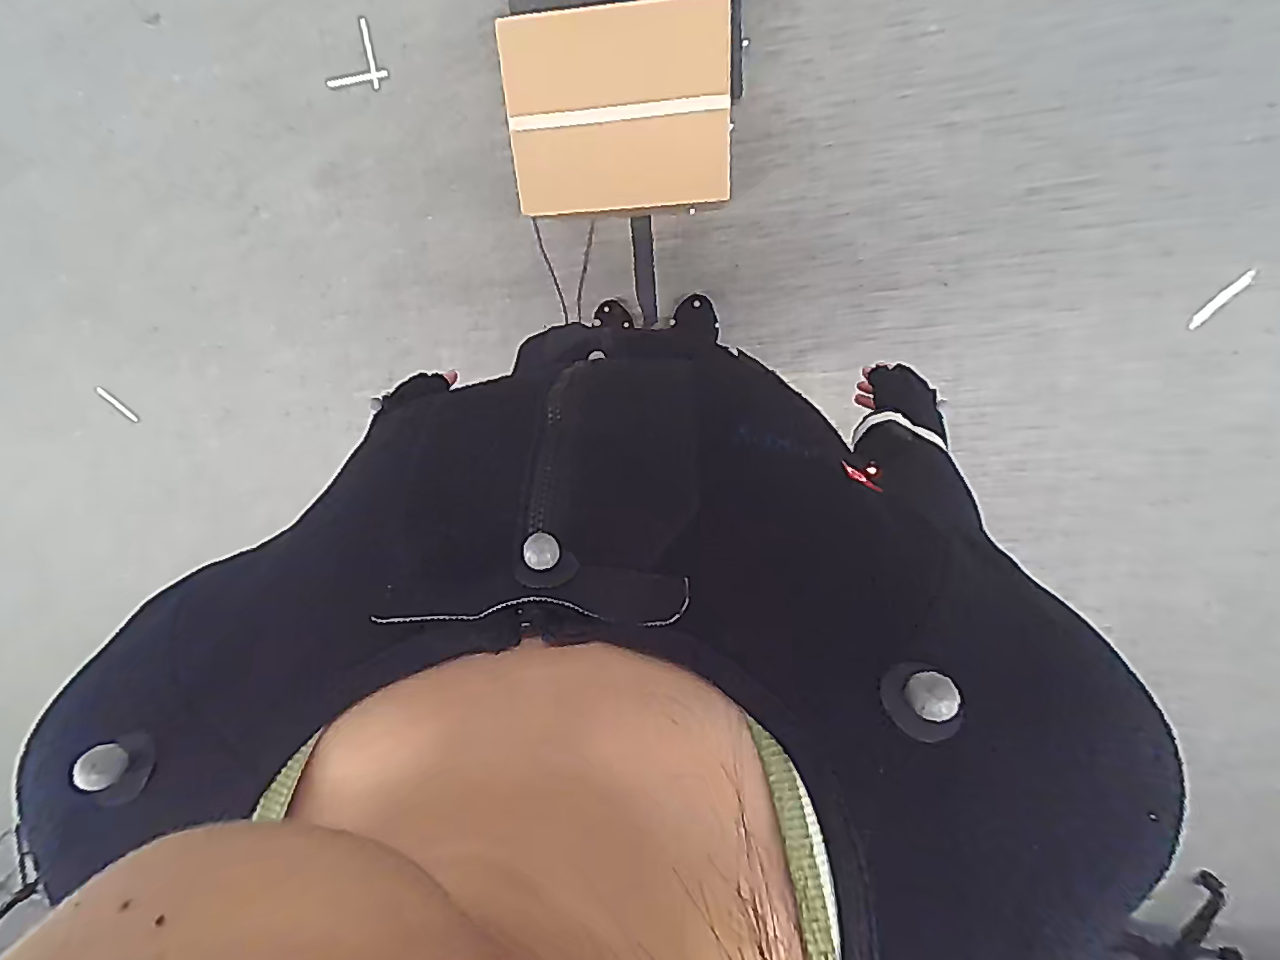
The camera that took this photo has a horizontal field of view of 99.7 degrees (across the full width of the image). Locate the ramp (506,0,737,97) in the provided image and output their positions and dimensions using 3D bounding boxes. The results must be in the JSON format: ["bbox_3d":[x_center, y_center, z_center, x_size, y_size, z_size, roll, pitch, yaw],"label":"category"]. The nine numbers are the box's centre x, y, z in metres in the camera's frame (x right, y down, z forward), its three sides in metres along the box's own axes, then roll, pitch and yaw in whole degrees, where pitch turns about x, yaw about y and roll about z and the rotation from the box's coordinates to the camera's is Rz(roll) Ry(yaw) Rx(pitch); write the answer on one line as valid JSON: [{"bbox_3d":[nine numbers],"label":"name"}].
[{"bbox_3d":[-0.074,-1.280,0.997,0.509,0.206,0.991,-5,109,6],"label":"ramp"}]

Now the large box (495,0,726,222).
[{"bbox_3d":[-0.033,-0.720,1.117,0.408,0.320,0.320,-2,113,6],"label":"large box"}]
